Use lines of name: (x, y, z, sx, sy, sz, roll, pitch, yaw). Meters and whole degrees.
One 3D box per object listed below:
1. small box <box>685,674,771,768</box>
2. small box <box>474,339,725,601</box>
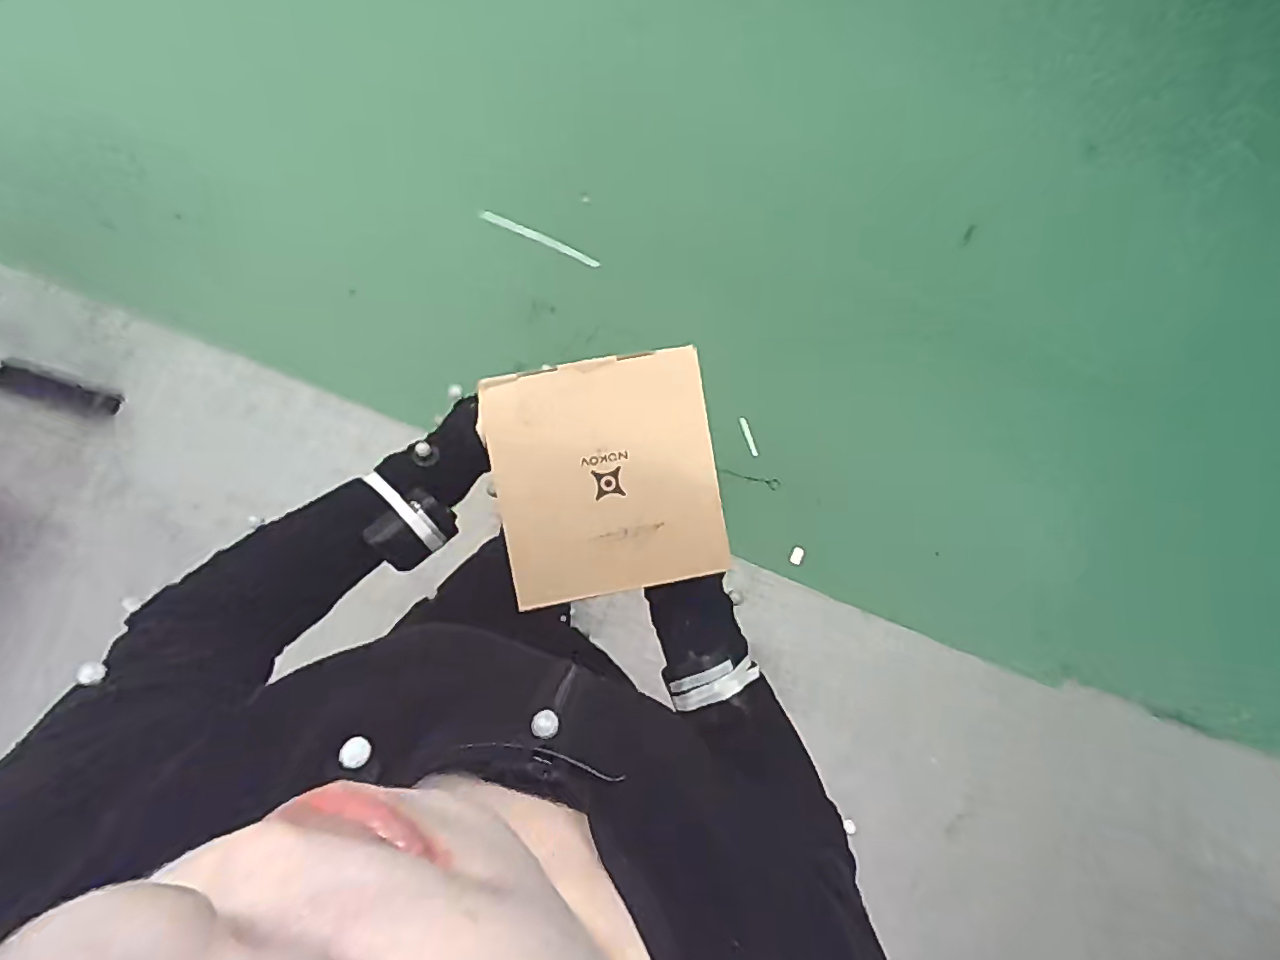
small box: (0.223, 0.620, 1.410, 0.168, 0.176, 0.179, 11, 82, -6)
small box: (-0.035, -0.011, 0.482, 0.168, 0.176, 0.179, -11, 94, -3)
